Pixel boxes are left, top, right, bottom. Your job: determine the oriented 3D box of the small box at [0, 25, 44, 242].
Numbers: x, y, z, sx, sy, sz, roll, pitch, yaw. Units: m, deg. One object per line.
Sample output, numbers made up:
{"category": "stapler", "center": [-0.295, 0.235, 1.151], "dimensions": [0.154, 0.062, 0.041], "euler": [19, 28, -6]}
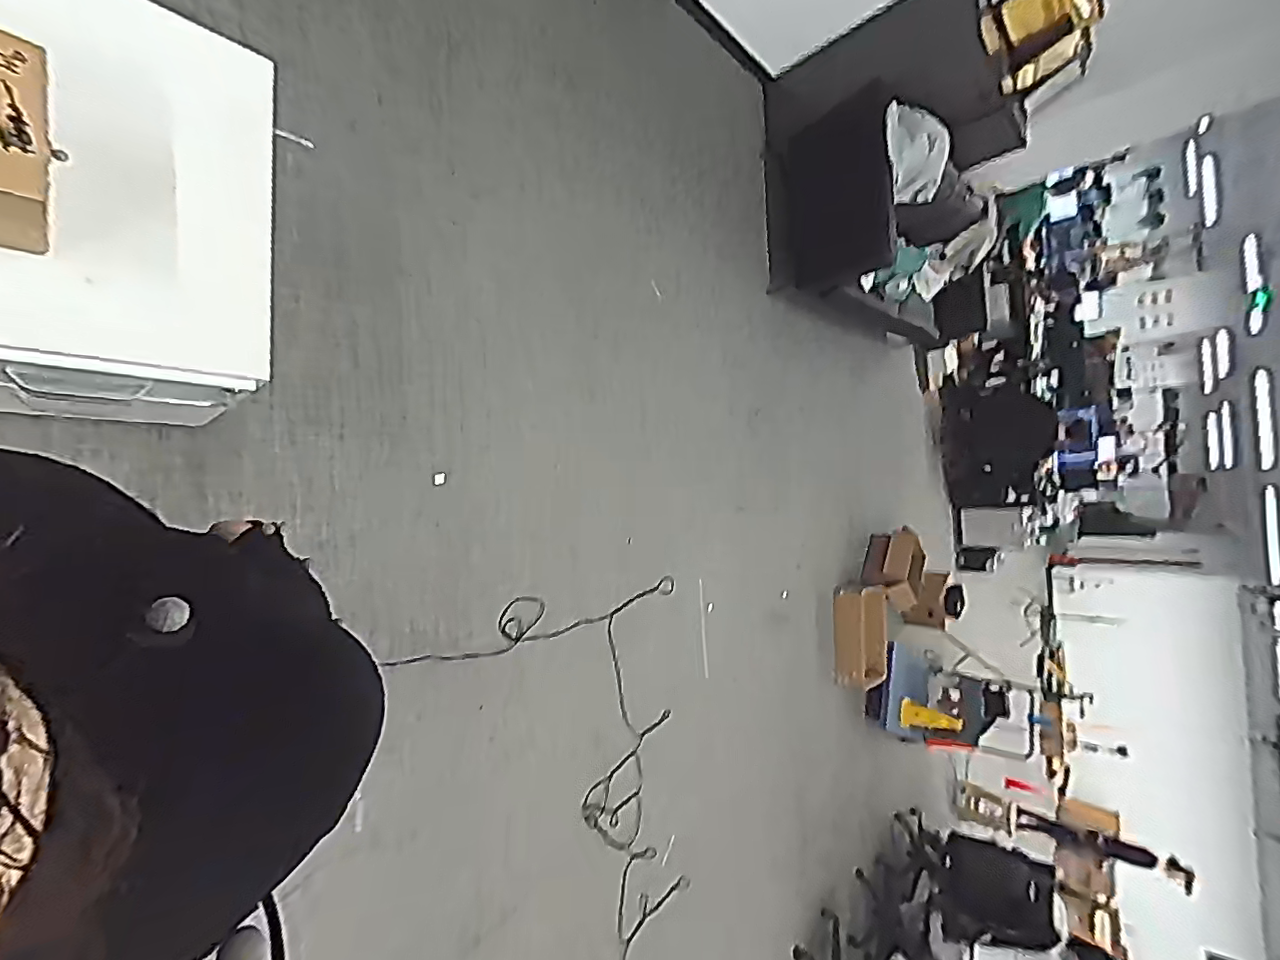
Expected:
{"category": "small box", "center": [-0.729, -0.364, 0.541], "dimensions": [0.179, 0.176, 0.168], "euler": [0, 88, -48]}
